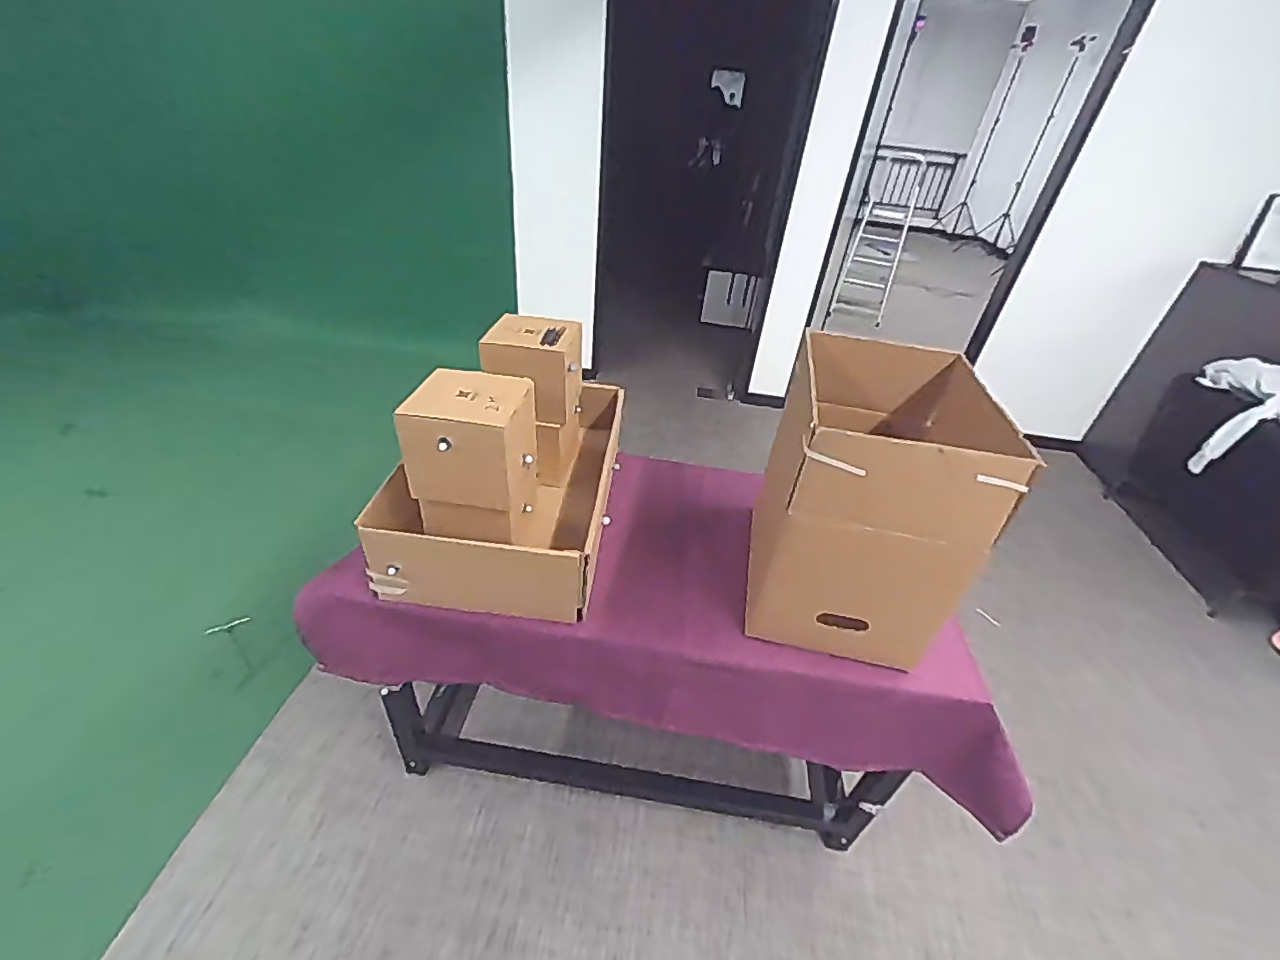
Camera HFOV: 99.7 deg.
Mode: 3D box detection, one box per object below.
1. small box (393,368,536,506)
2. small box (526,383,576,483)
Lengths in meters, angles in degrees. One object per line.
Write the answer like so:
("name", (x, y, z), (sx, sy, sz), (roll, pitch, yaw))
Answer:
("small box", (-0.287, -0.073, 0.928), (0.179, 0.176, 0.168), (8, 38, 3))
("small box", (-0.246, -0.112, 1.263), (0.168, 0.176, 0.179), (8, 37, 4))
